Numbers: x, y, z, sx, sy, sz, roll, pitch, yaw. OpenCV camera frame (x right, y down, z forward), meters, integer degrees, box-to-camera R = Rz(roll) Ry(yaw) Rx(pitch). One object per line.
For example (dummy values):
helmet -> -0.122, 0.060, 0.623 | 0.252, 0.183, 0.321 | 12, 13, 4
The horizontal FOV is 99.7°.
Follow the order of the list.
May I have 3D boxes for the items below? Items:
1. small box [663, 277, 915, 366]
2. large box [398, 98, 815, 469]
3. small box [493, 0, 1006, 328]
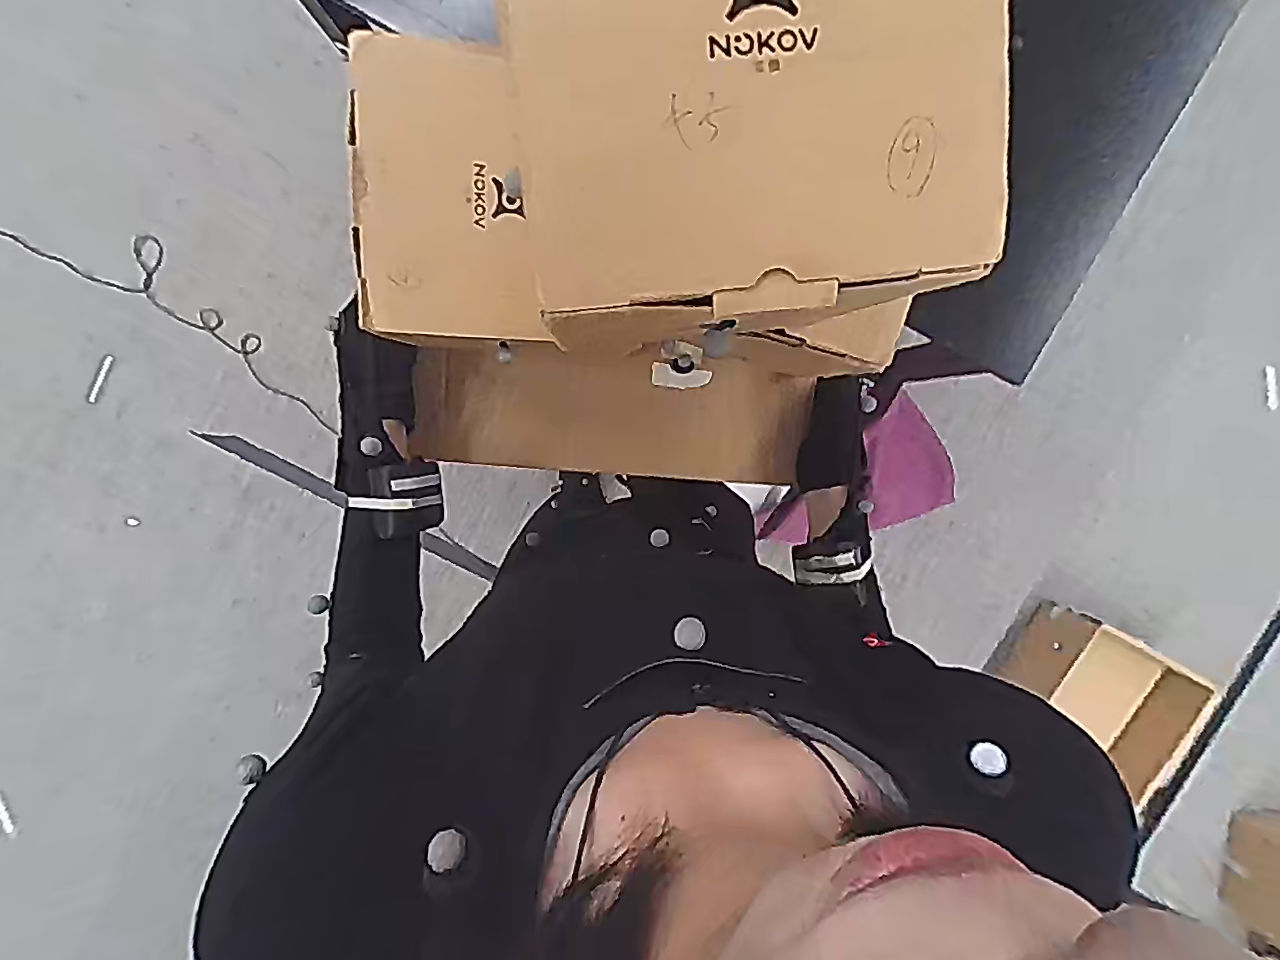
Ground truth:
small box -> 0.103, -0.195, 0.416 | 0.168, 0.176, 0.179 | 15, 96, -7
large box -> -0.036, -0.192, 0.651 | 0.408, 0.320, 0.320 | 3, 100, -7
small box -> 0.030, -0.168, 0.248 | 0.168, 0.176, 0.179 | -7, 101, -4
